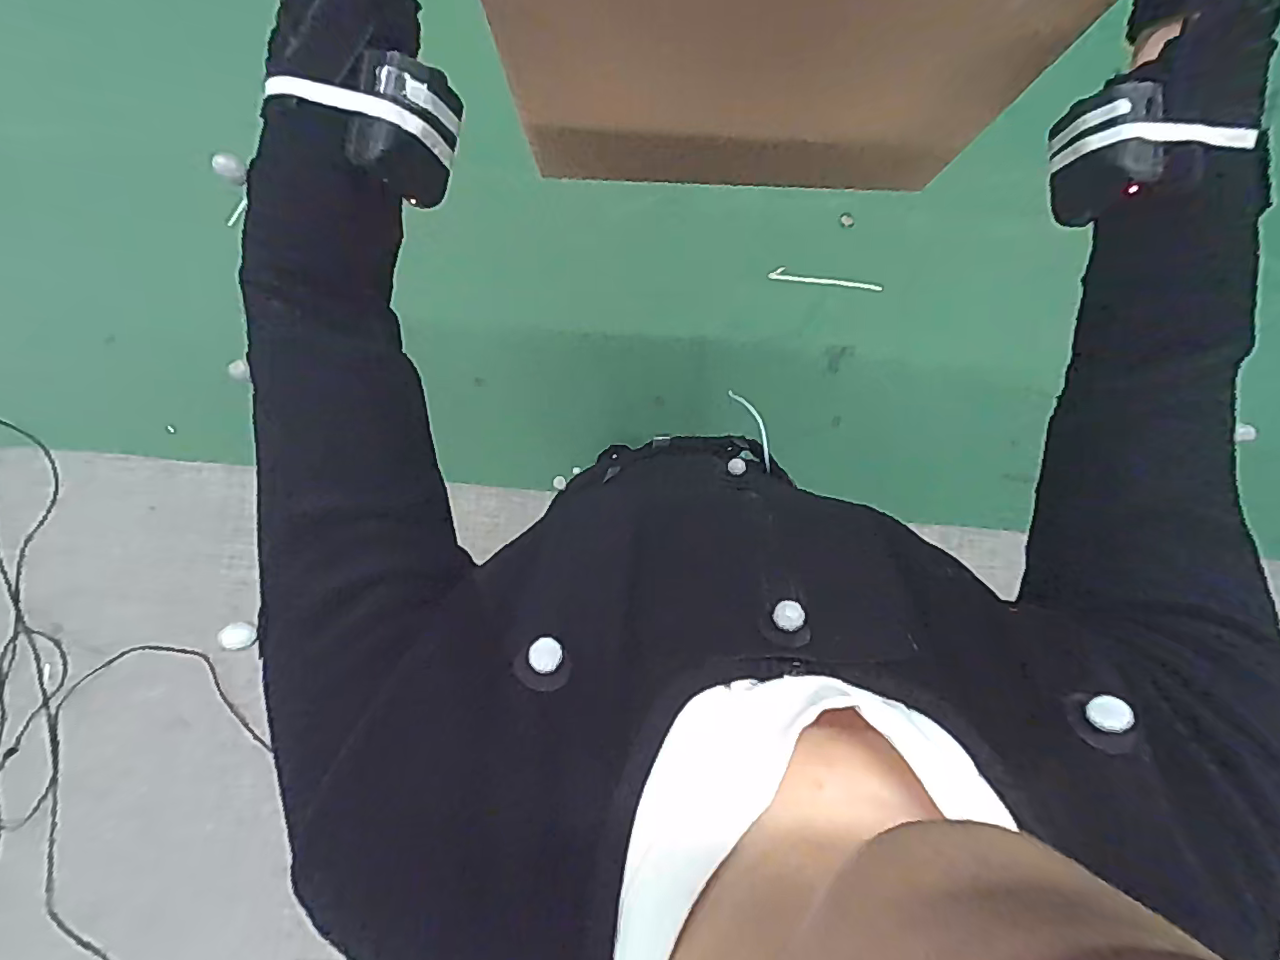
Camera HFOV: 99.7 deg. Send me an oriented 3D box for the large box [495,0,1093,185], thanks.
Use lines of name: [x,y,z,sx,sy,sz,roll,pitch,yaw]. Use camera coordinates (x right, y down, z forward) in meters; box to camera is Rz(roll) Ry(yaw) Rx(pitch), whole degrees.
large box: [0.099,-0.461,0.421,0.408,0.320,0.320,1,92,-2]
